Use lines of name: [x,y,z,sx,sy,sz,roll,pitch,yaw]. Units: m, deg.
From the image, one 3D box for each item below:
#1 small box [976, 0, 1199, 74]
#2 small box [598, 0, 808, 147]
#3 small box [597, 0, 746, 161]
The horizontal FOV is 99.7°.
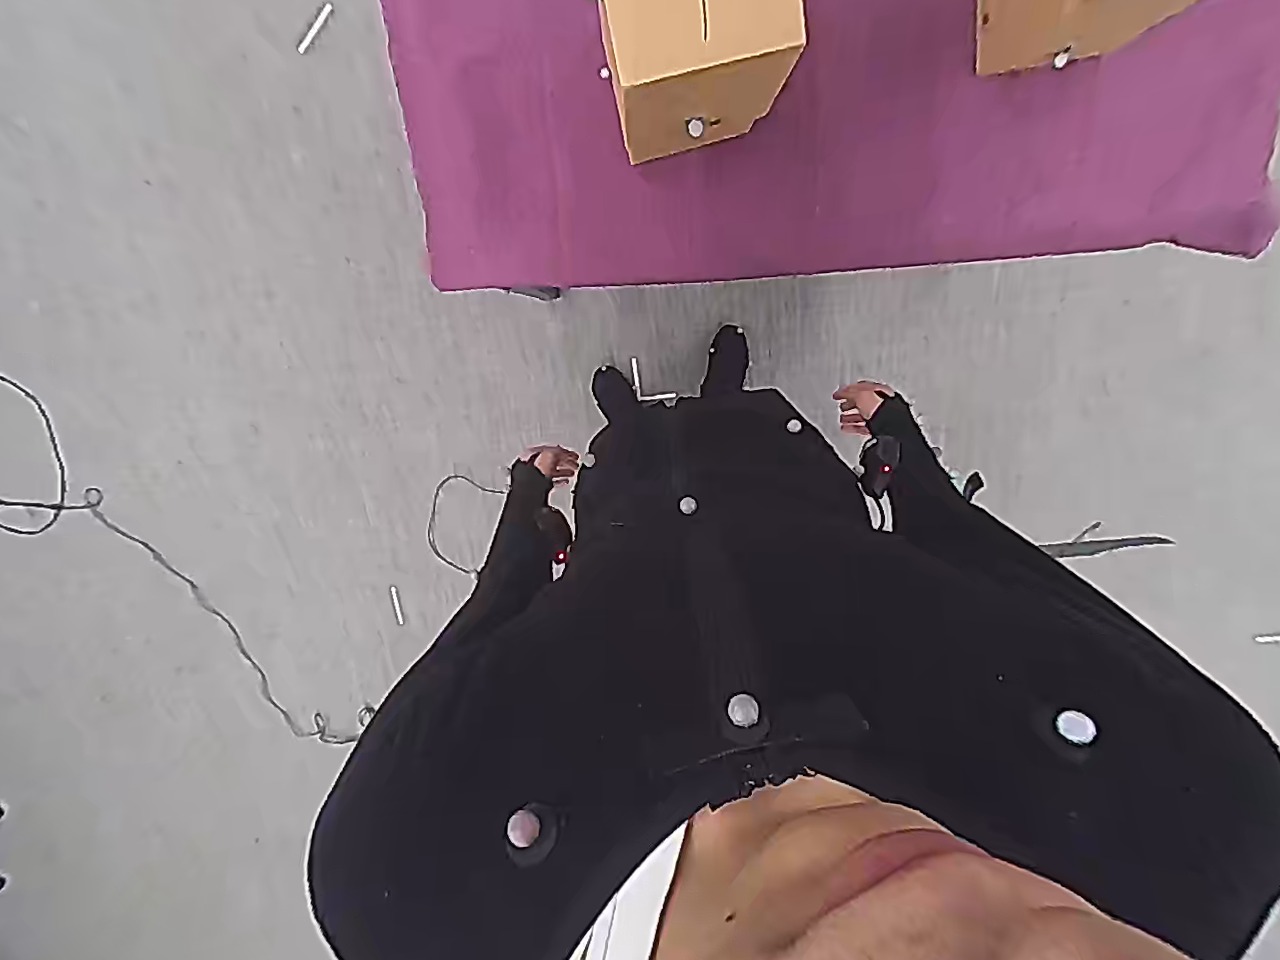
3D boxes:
small box: [0.535,-0.620,0.638,0.179,0.176,0.168,-9,105,2]
small box: [0.046,-0.454,0.514,0.168,0.176,0.179,-11,106,4]
small box: [0.050,-0.522,0.666,0.179,0.176,0.168,-13,105,3]
